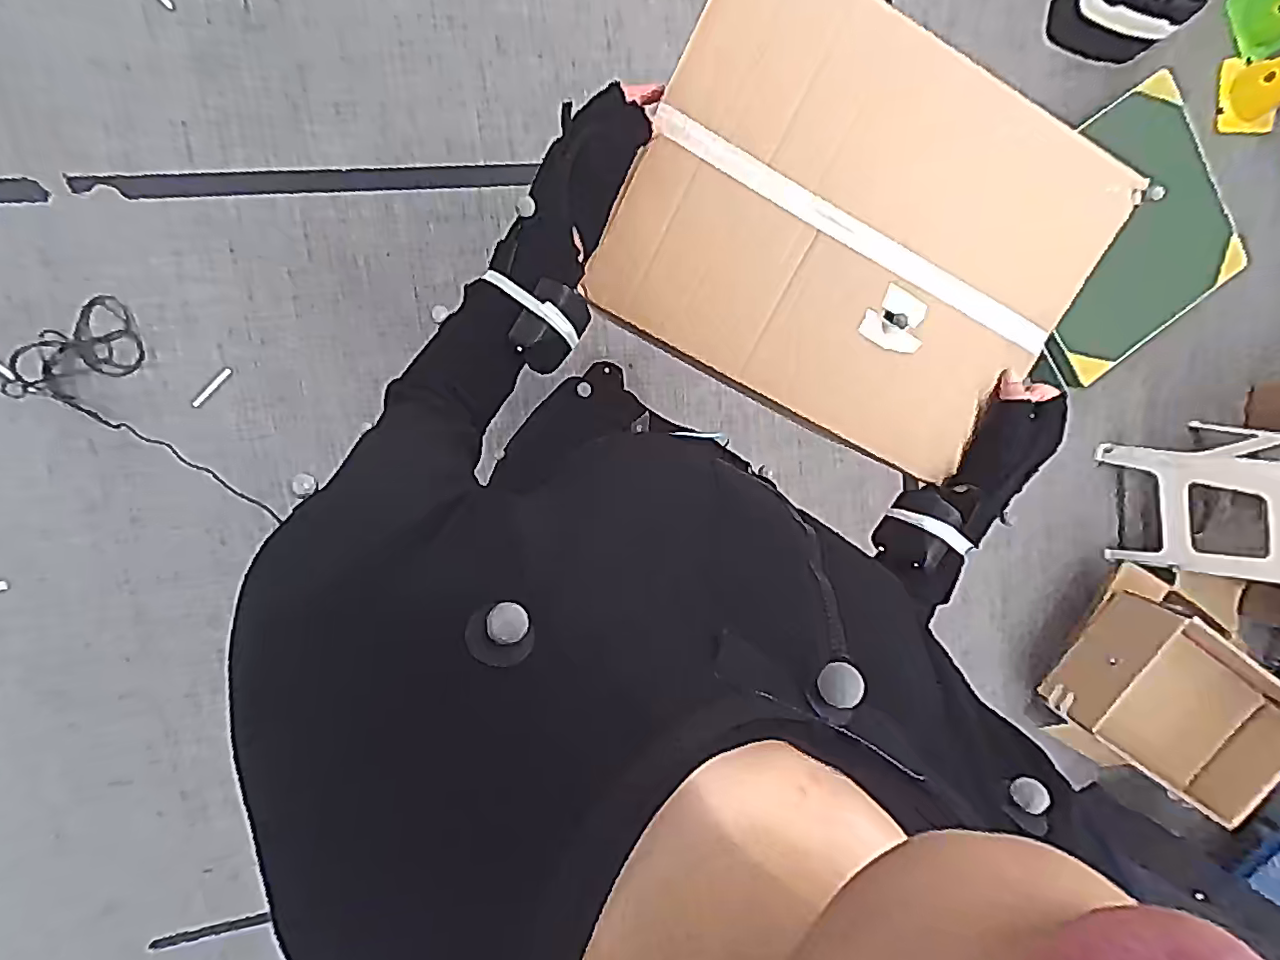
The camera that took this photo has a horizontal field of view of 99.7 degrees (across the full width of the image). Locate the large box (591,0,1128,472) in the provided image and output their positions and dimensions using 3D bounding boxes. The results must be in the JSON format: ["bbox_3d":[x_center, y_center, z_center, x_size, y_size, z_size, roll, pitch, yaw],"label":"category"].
[{"bbox_3d":[0.189,-0.259,0.630,0.408,0.320,0.320,27,103,-9],"label":"large box"}]
